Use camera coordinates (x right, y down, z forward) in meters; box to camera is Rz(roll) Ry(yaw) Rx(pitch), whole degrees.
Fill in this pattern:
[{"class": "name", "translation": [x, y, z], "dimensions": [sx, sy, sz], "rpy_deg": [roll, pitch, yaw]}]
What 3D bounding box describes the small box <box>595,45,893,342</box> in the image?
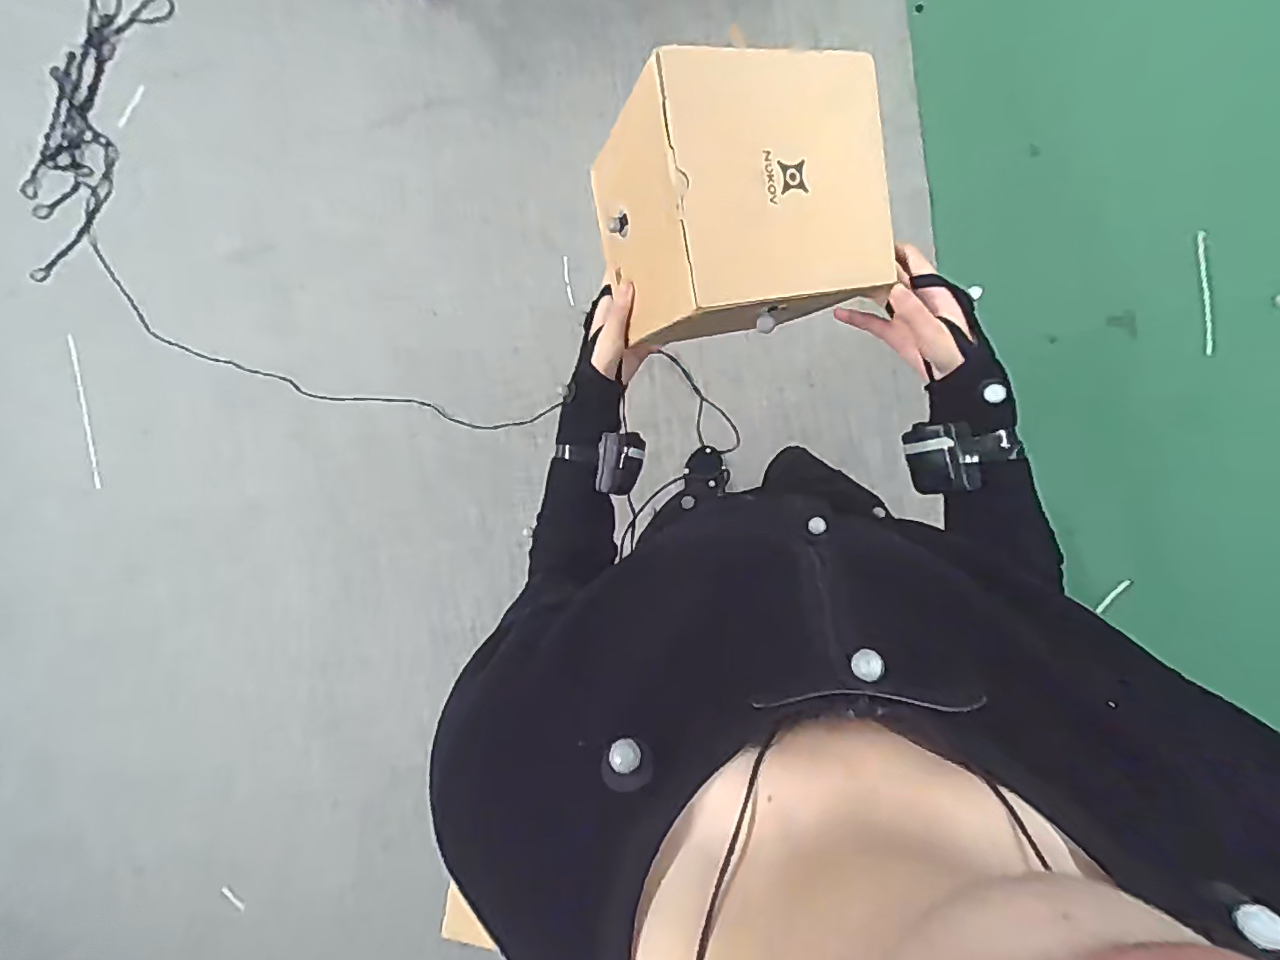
[{"class": "small box", "translation": [0.076, -0.220, 0.455], "dimensions": [0.179, 0.176, 0.168], "rpy_deg": [-13, 98, -16]}]
